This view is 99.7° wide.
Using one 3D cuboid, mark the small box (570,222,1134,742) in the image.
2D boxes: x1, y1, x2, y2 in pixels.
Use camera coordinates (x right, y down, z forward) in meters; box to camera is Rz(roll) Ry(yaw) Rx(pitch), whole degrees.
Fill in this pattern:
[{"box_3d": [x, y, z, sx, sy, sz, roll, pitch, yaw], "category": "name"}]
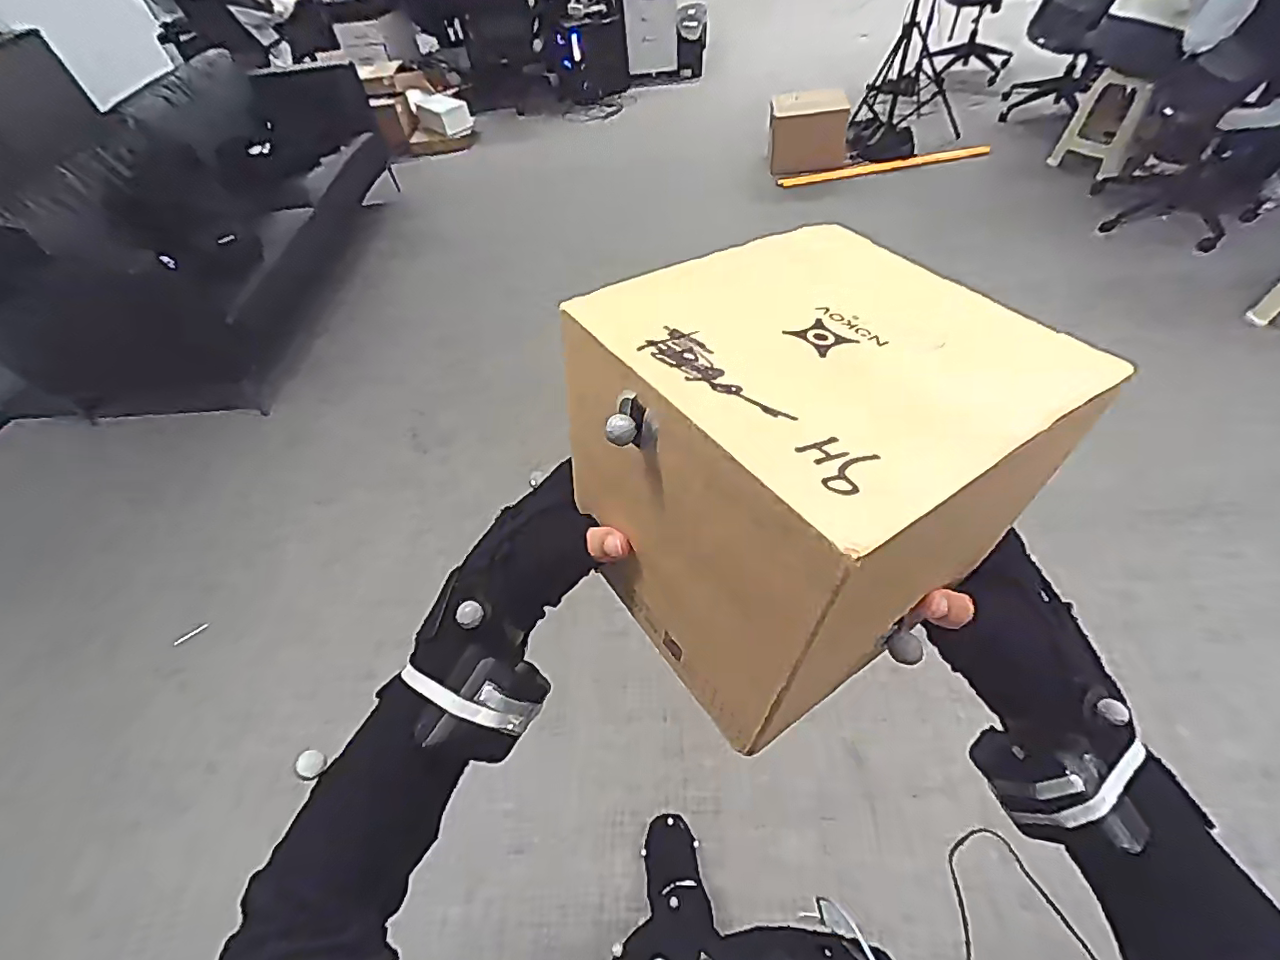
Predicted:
[{"box_3d": [0.078, -0.006, 0.280, 0.179, 0.176, 0.168, -25, 52, -25], "category": "small box"}]
